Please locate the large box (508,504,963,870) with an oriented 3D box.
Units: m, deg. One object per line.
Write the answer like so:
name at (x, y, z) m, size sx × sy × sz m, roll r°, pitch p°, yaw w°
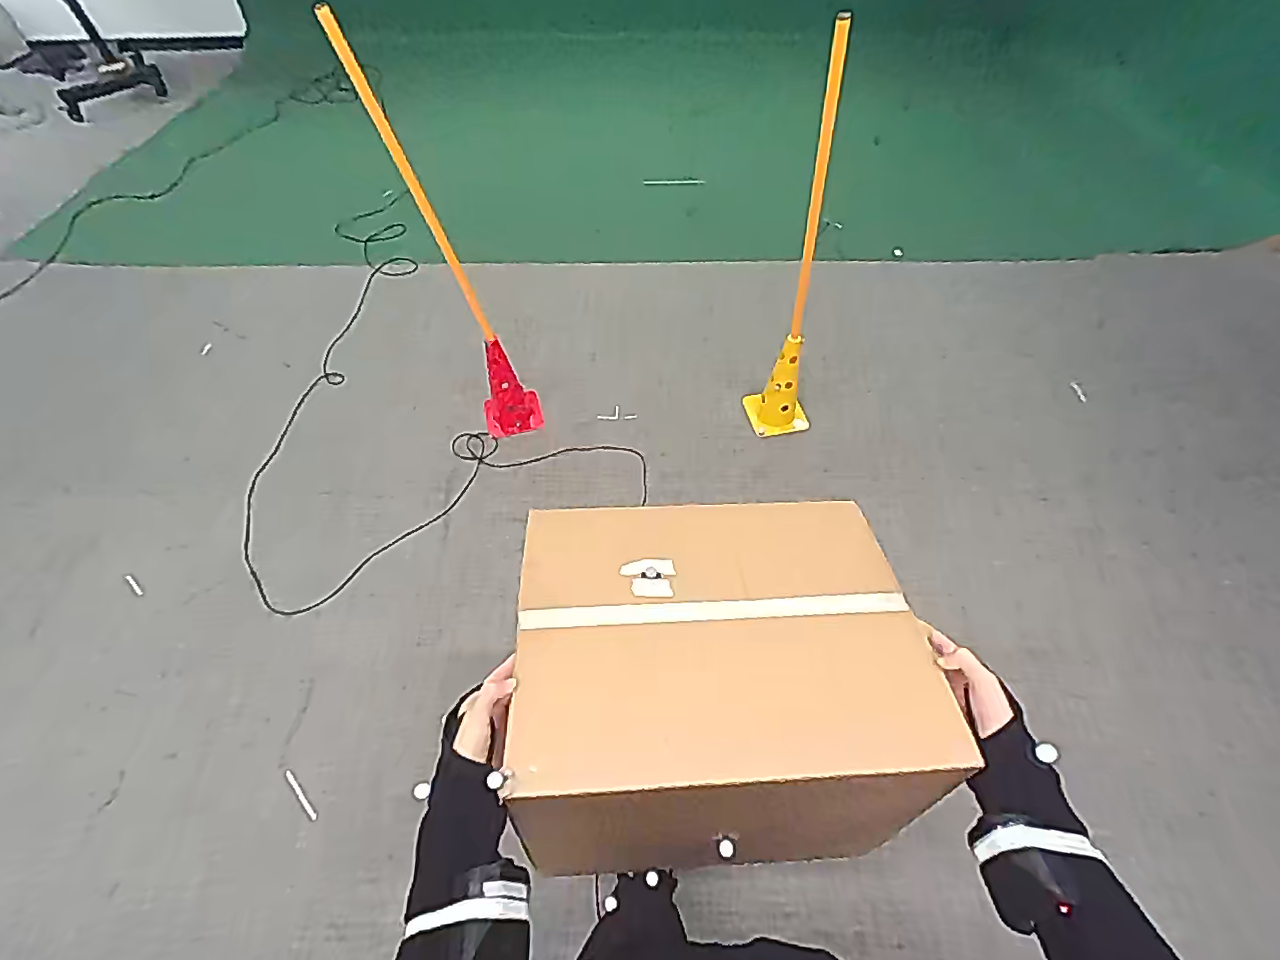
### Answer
large box at (0.076, 0.253, 0.667) m, size 0.408 × 0.320 × 0.320 m, roll -2°, pitch 44°, yaw -3°
